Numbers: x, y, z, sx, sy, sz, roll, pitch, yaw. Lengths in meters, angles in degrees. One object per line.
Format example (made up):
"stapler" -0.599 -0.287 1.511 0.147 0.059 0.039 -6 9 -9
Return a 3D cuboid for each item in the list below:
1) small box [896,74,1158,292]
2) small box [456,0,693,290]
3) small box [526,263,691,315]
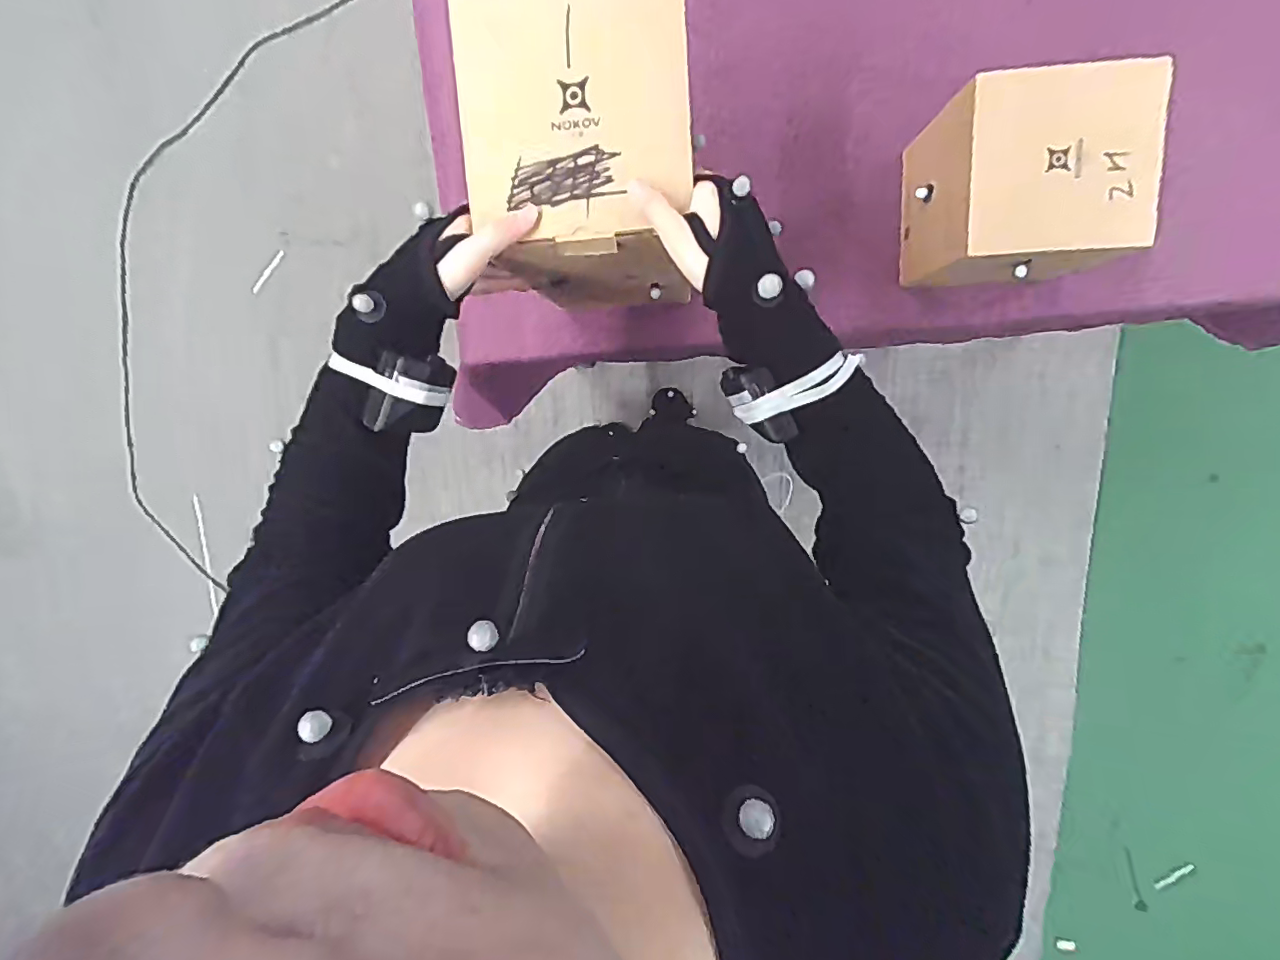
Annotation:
"small box" 0.406 -0.310 0.602 0.179 0.176 0.168 -1 100 3
"small box" -0.040 -0.270 0.469 0.168 0.176 0.179 -4 98 3
"small box" -0.033 -0.293 0.631 0.179 0.176 0.168 -3 99 3
